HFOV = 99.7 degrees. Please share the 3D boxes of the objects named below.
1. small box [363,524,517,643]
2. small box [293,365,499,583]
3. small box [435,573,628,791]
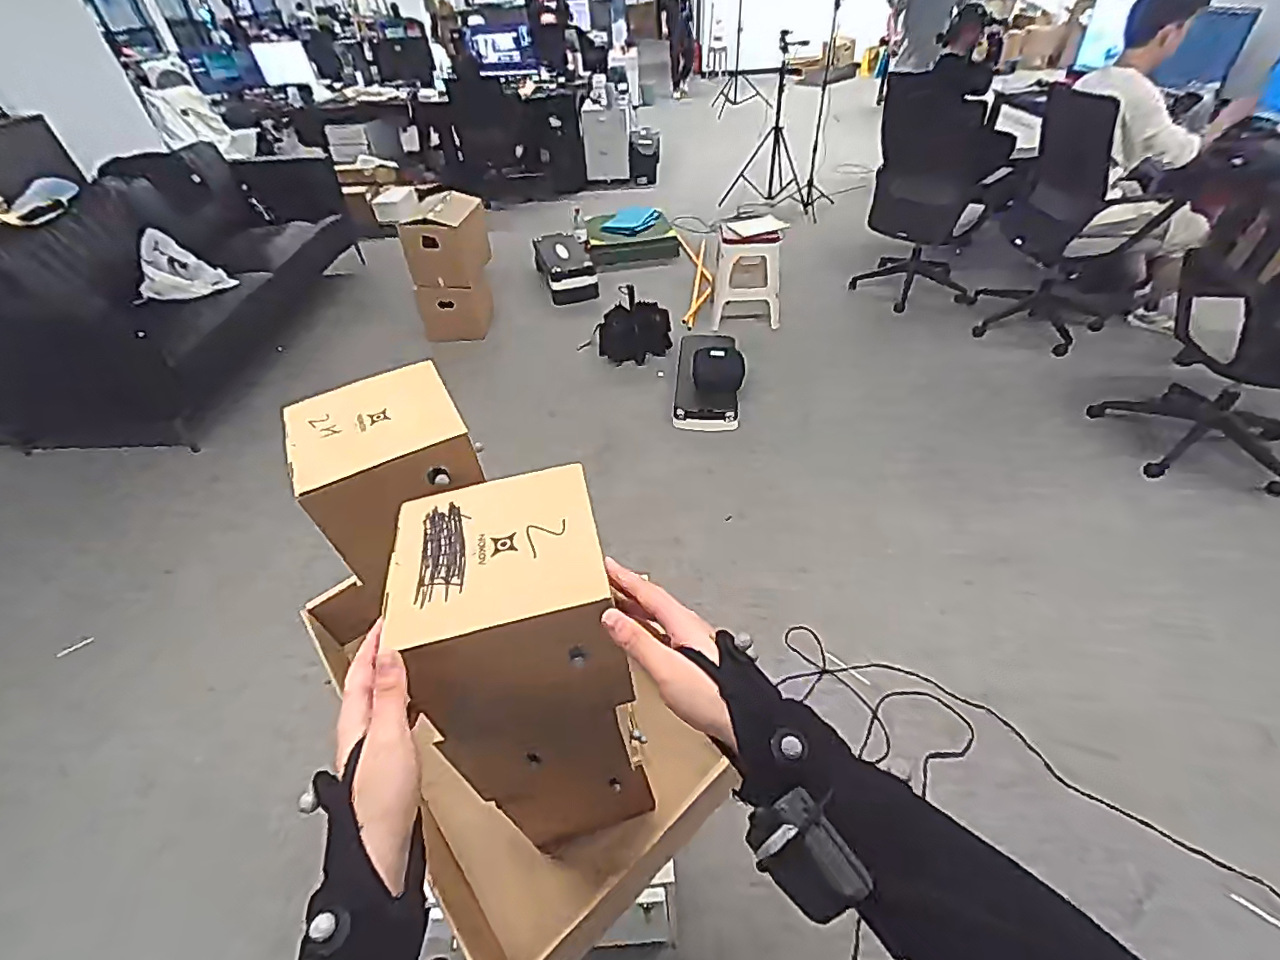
[{"bbox_3d":[-0.291,0.102,0.789,0.168,0.176,0.179,-22,49,-14],"label":"small box"},{"bbox_3d":[-0.288,-0.008,0.665,0.179,0.176,0.168,-24,48,-16],"label":"small box"},{"bbox_3d":[-0.112,0.236,0.631,0.179,0.176,0.168,-11,41,0],"label":"small box"}]
